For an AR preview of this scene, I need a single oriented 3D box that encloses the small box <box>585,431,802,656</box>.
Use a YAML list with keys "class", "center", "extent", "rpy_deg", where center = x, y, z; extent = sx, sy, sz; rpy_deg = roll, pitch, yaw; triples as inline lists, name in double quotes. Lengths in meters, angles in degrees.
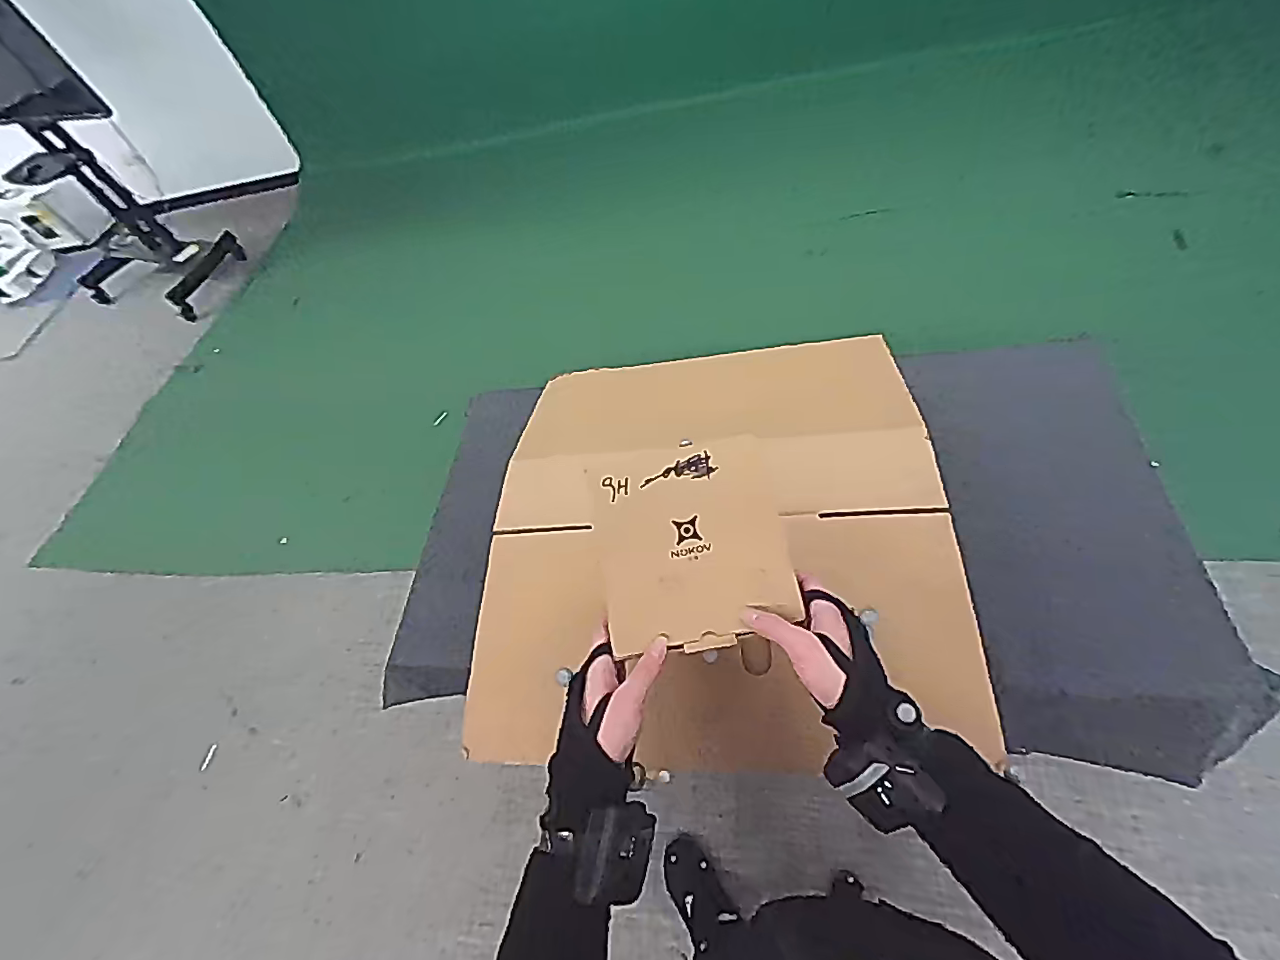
- class: "small box"
  center: [0.053, 0.075, 0.560]
  extent: [0.168, 0.176, 0.179]
  rpy_deg: [-14, 71, 3]
